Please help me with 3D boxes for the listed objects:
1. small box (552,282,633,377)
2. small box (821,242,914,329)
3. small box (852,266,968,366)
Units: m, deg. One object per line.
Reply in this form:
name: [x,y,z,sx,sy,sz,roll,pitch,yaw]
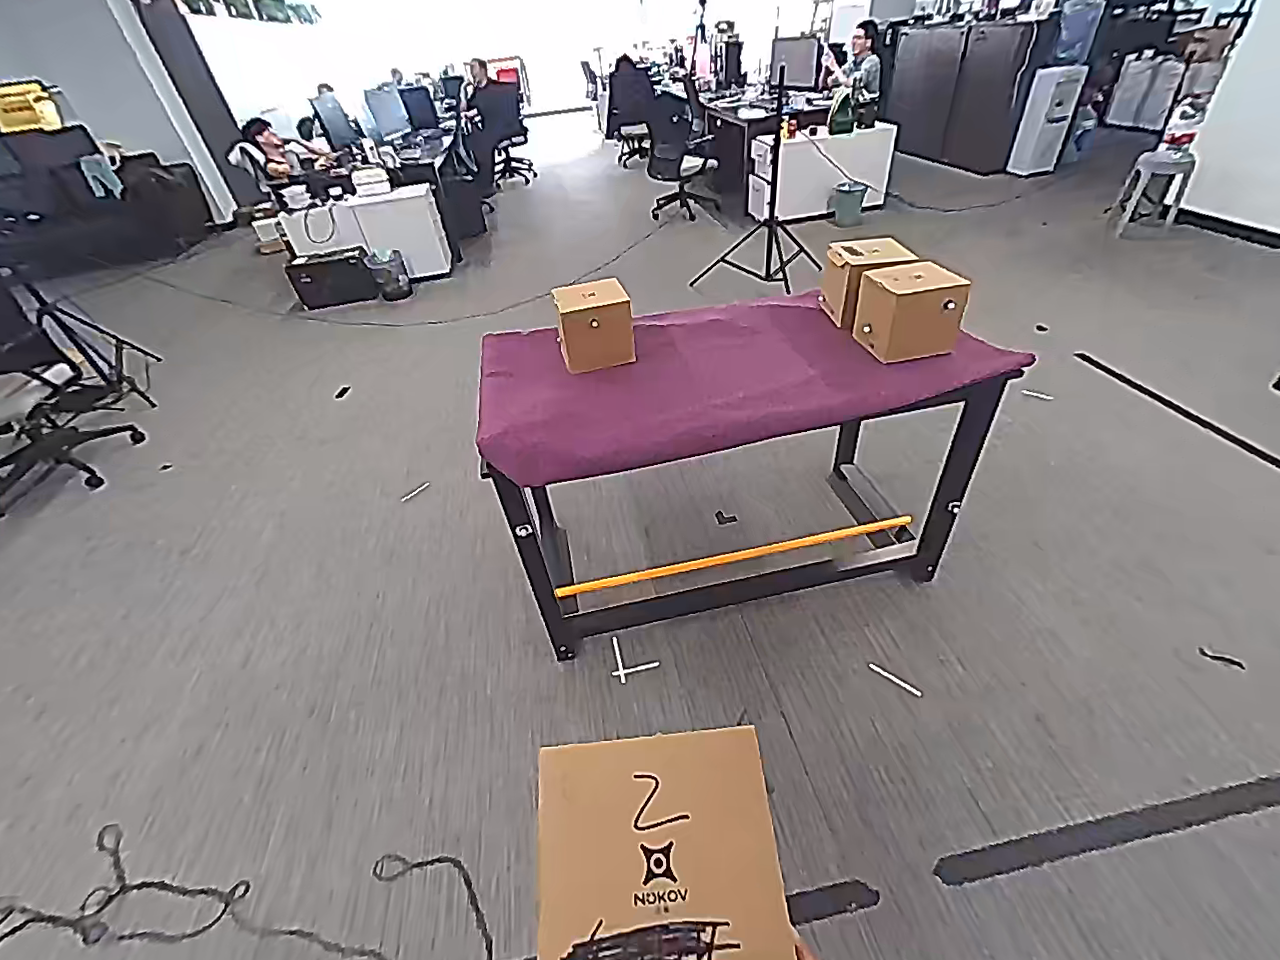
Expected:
small box: [-0.120,-0.389,1.398,0.179,0.176,0.168,-13,40,-8]
small box: [0.596,-0.517,1.447,0.179,0.176,0.168,-6,41,-1]
small box: [0.634,-0.393,1.295,0.179,0.176,0.168,-10,38,-3]
